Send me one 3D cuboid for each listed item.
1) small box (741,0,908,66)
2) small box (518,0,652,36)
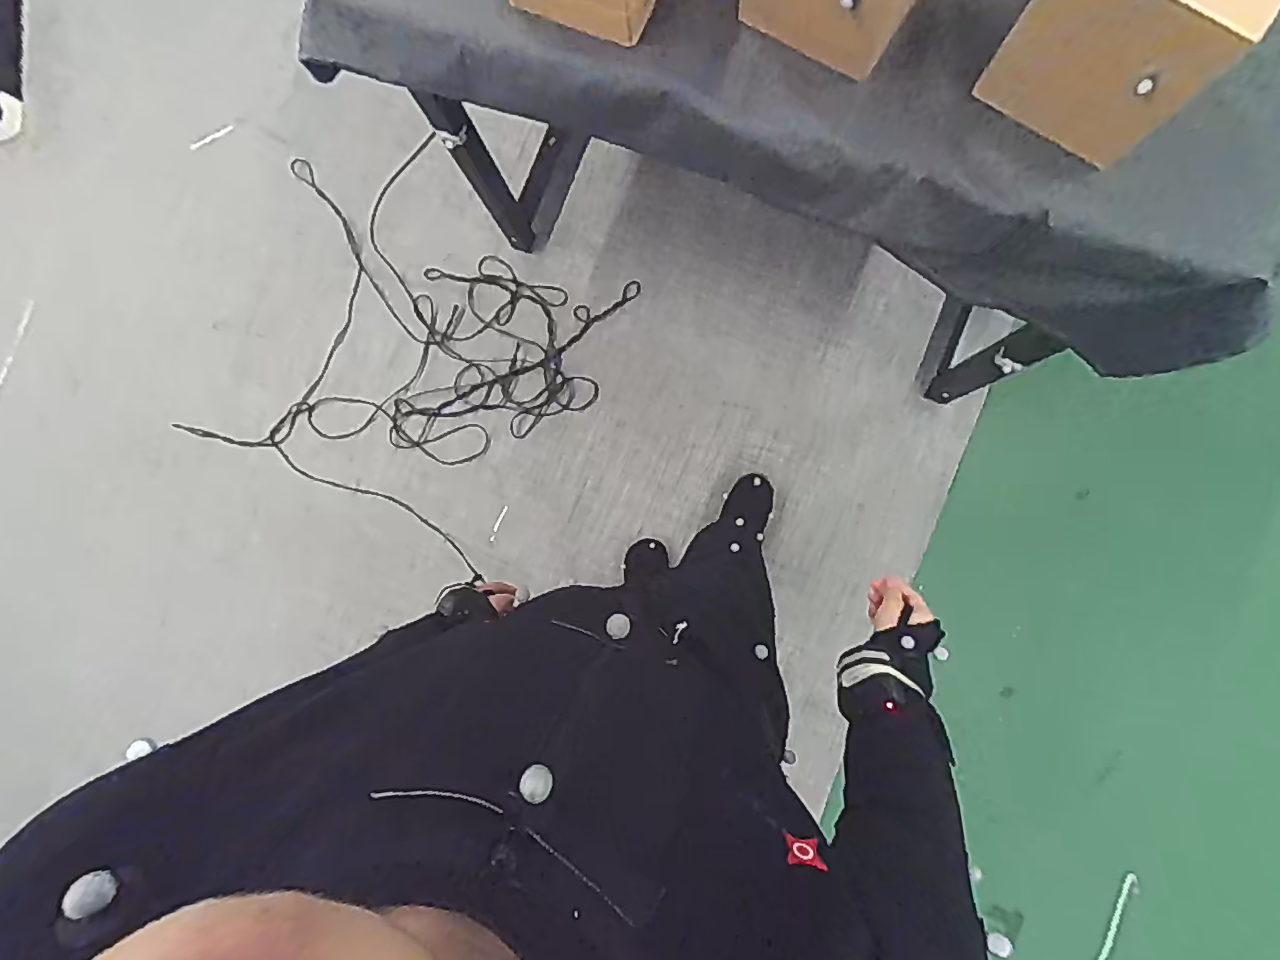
[{"bbox_3d":[0.226,-0.594,0.570,0.179,0.176,0.168,32,88,8],"label":"small box"},{"bbox_3d":[-0.063,-0.652,0.601,0.179,0.176,0.168,23,87,6],"label":"small box"}]
